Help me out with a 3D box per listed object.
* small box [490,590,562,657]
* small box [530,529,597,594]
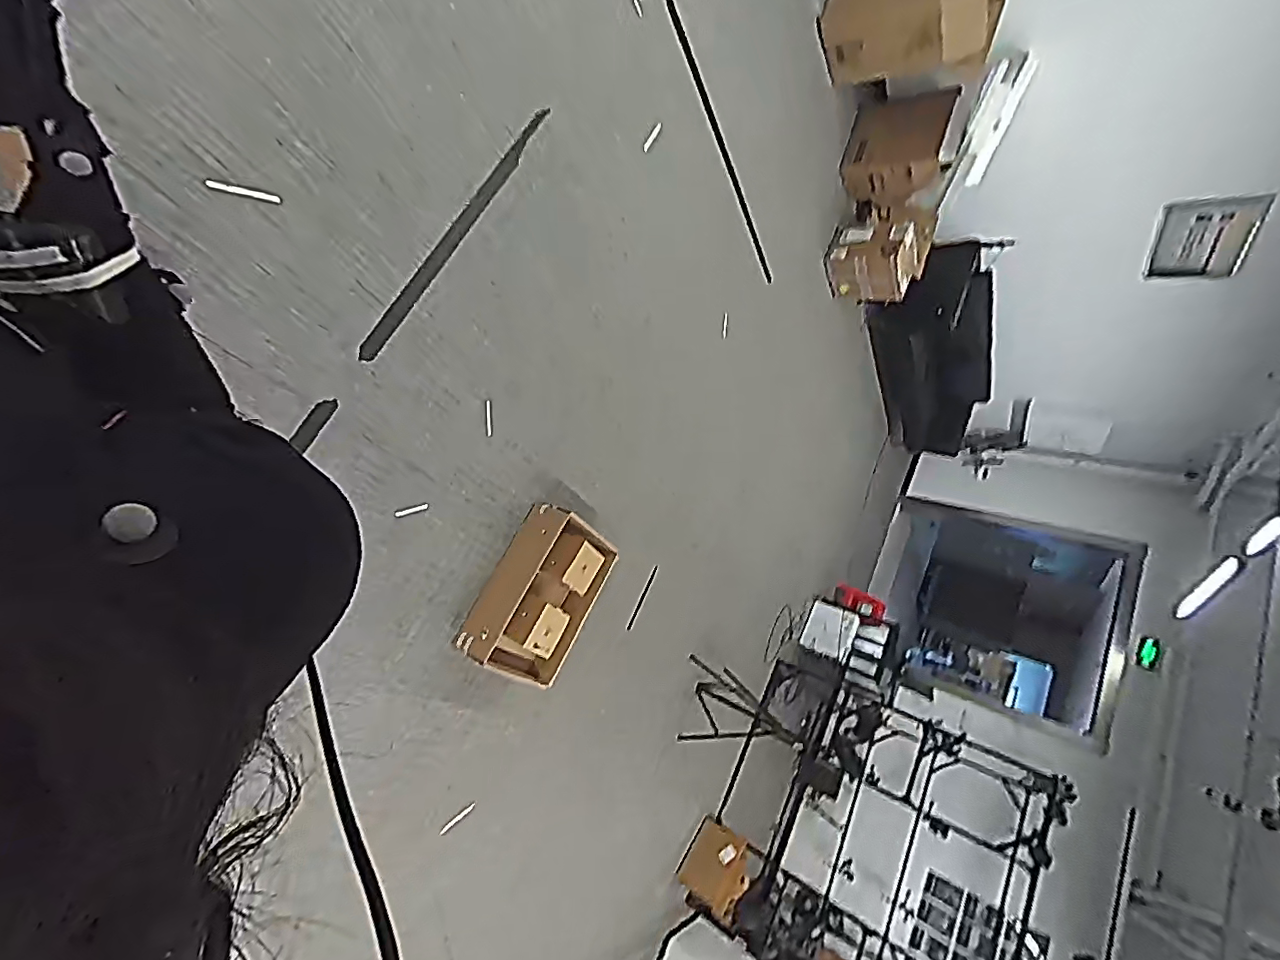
[{"bbox_3d":[-0.435,0.539,2.047,0.168,0.176,0.179,50,59,-48],"label":"small box"},{"bbox_3d":[-0.309,0.319,2.136,0.179,0.176,0.168,-60,142,-20],"label":"small box"}]
